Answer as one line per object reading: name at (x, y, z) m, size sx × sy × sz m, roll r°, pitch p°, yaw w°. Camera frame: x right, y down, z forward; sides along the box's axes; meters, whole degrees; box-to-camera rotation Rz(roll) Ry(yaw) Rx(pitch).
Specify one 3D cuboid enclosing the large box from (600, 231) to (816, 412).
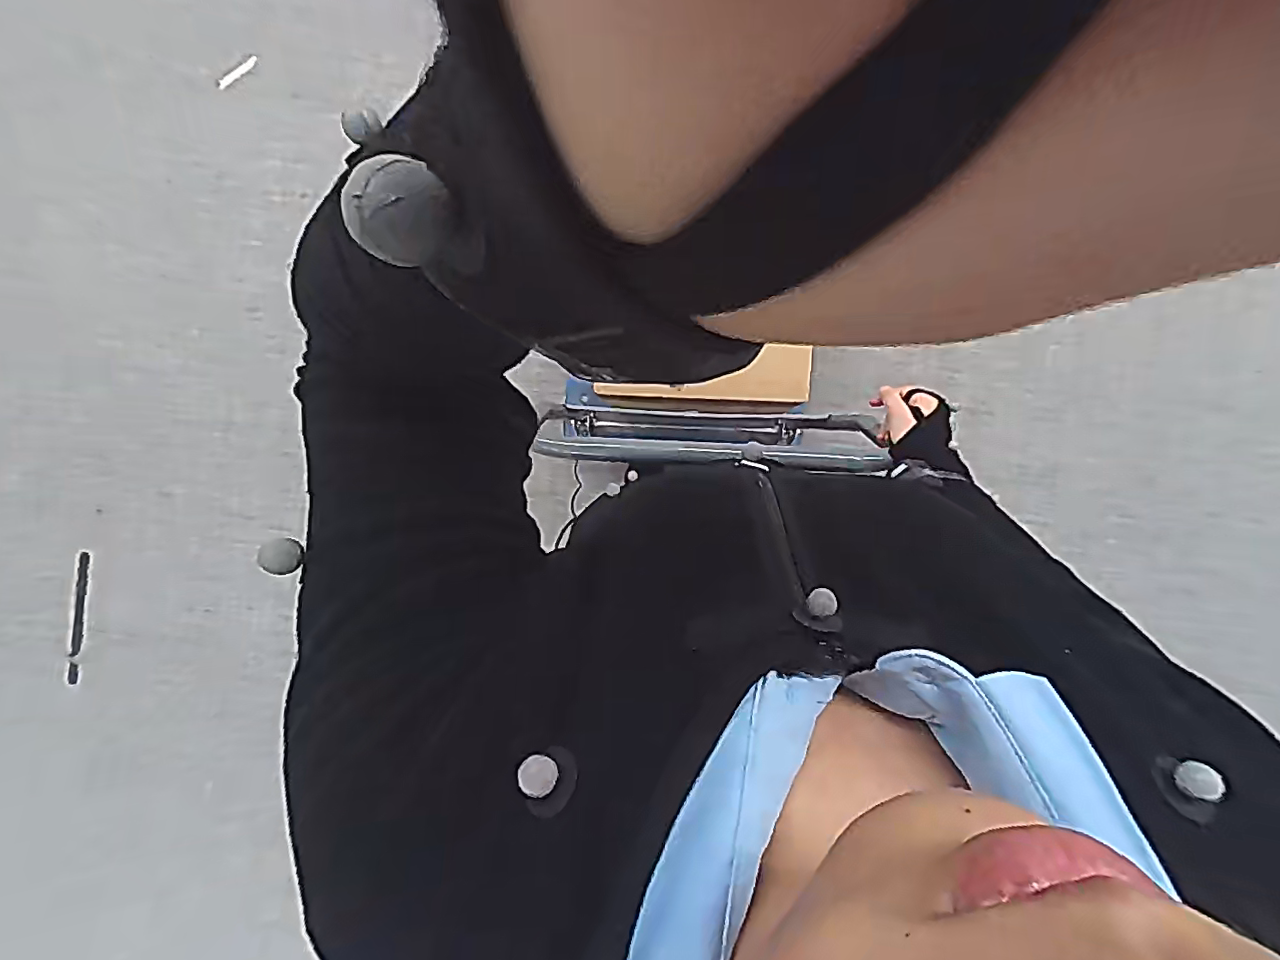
large box at (0.127, -0.314, 1.164) m, size 0.408 × 0.320 × 0.320 m, roll 2°, pitch 94°, yaw 1°
